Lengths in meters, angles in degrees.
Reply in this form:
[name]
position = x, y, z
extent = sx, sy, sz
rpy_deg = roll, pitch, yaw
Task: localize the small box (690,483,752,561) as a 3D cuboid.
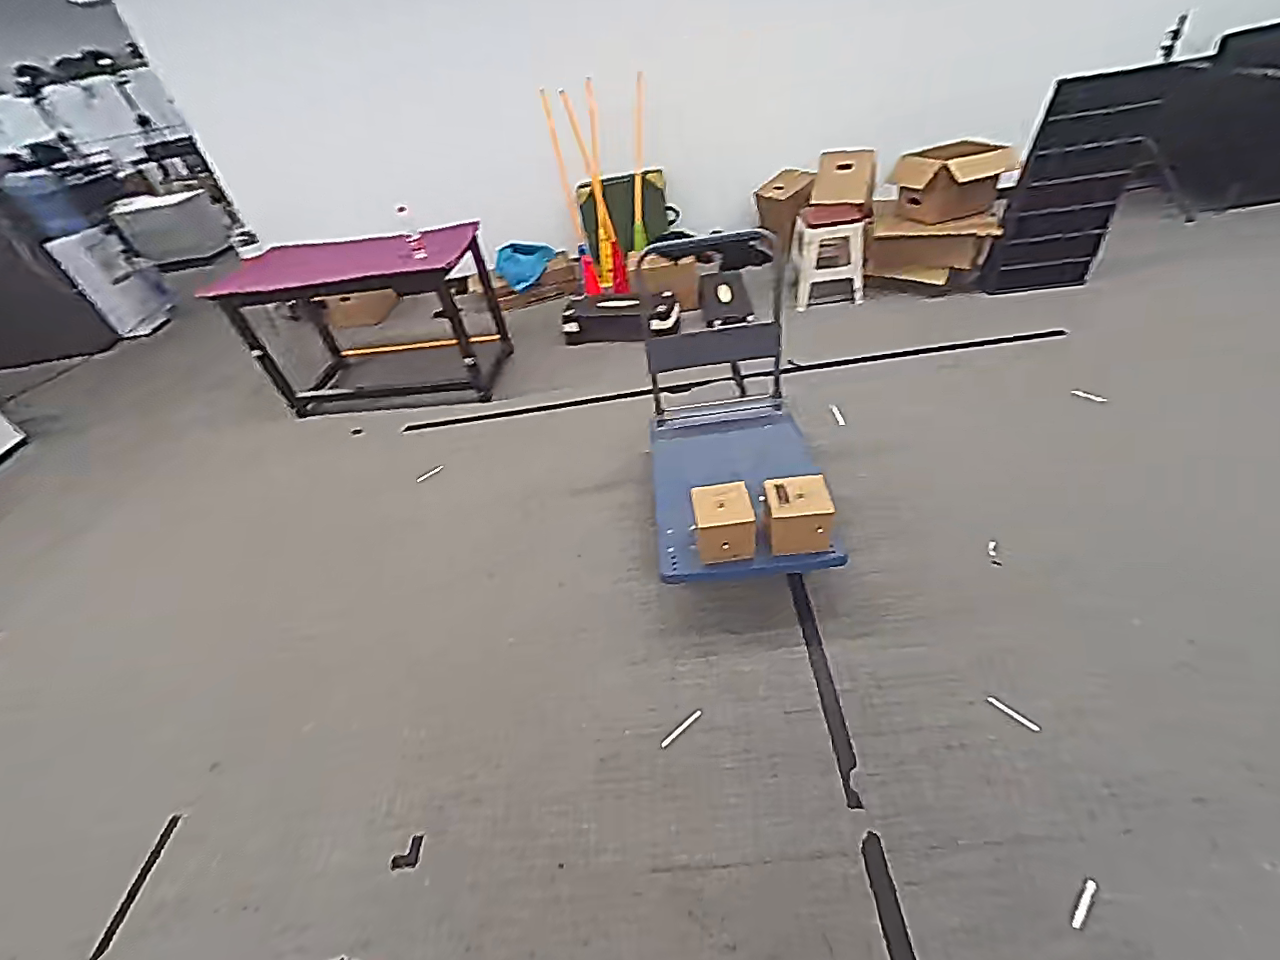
[small box]
position = 0.252, 0.134, 1.671
extent = 0.168, 0.176, 0.179
rpy_deg = -7, 41, 3
